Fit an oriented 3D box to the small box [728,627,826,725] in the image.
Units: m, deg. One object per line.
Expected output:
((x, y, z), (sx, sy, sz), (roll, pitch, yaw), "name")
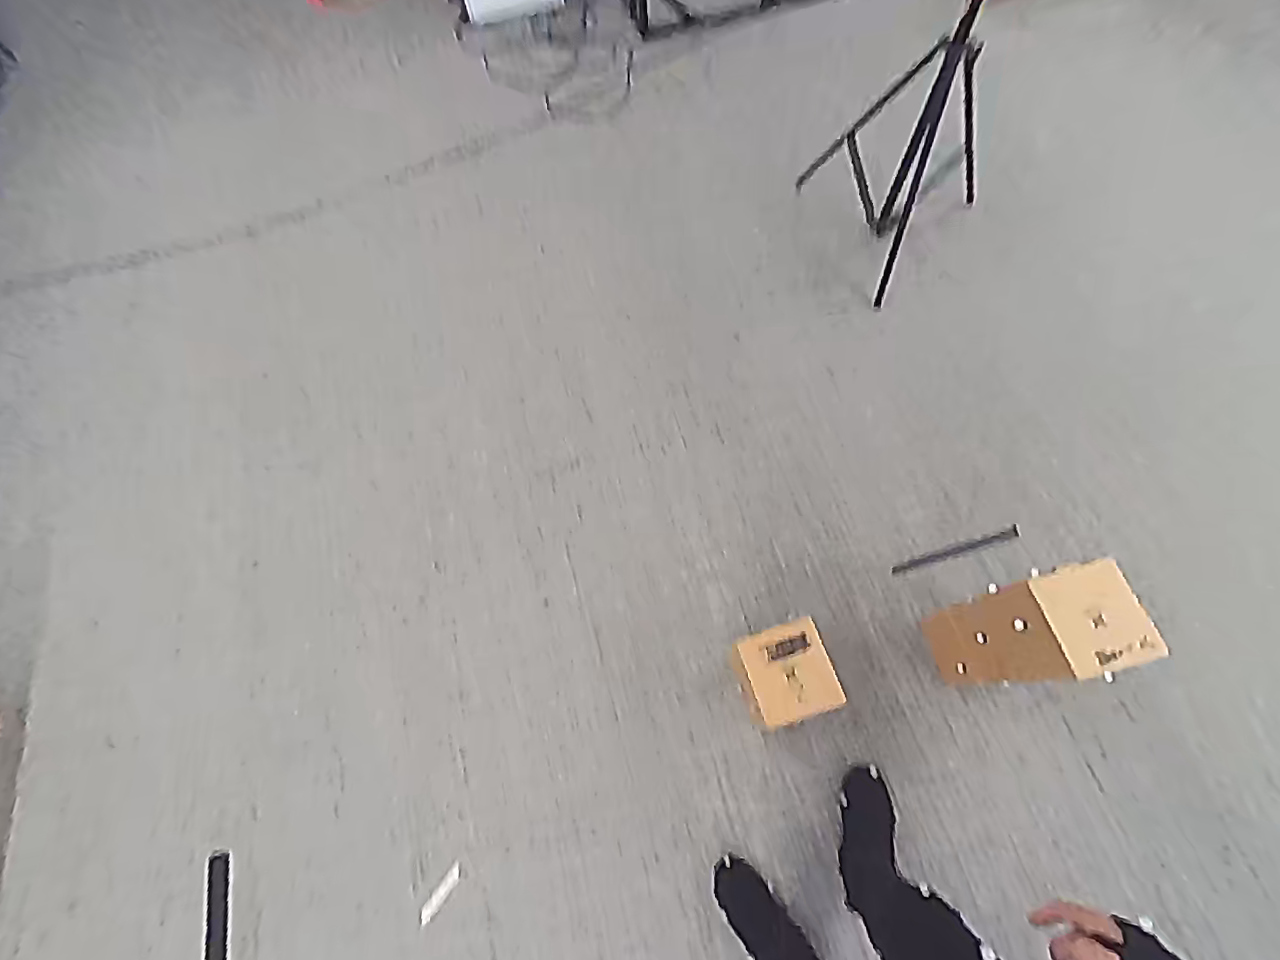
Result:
((0.319, 0.475, 1.301), (0.168, 0.176, 0.179), (-18, 67, -2), "small box")

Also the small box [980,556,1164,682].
((0.775, 0.261, 0.998), (0.168, 0.176, 0.179), (-14, 67, -2), "small box")

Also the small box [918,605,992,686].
((0.805, 0.386, 1.300), (0.168, 0.176, 0.179), (-14, 68, -1), "small box")

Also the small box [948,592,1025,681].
((0.801, 0.321, 1.150), (0.168, 0.176, 0.179), (-14, 67, -2), "small box")
